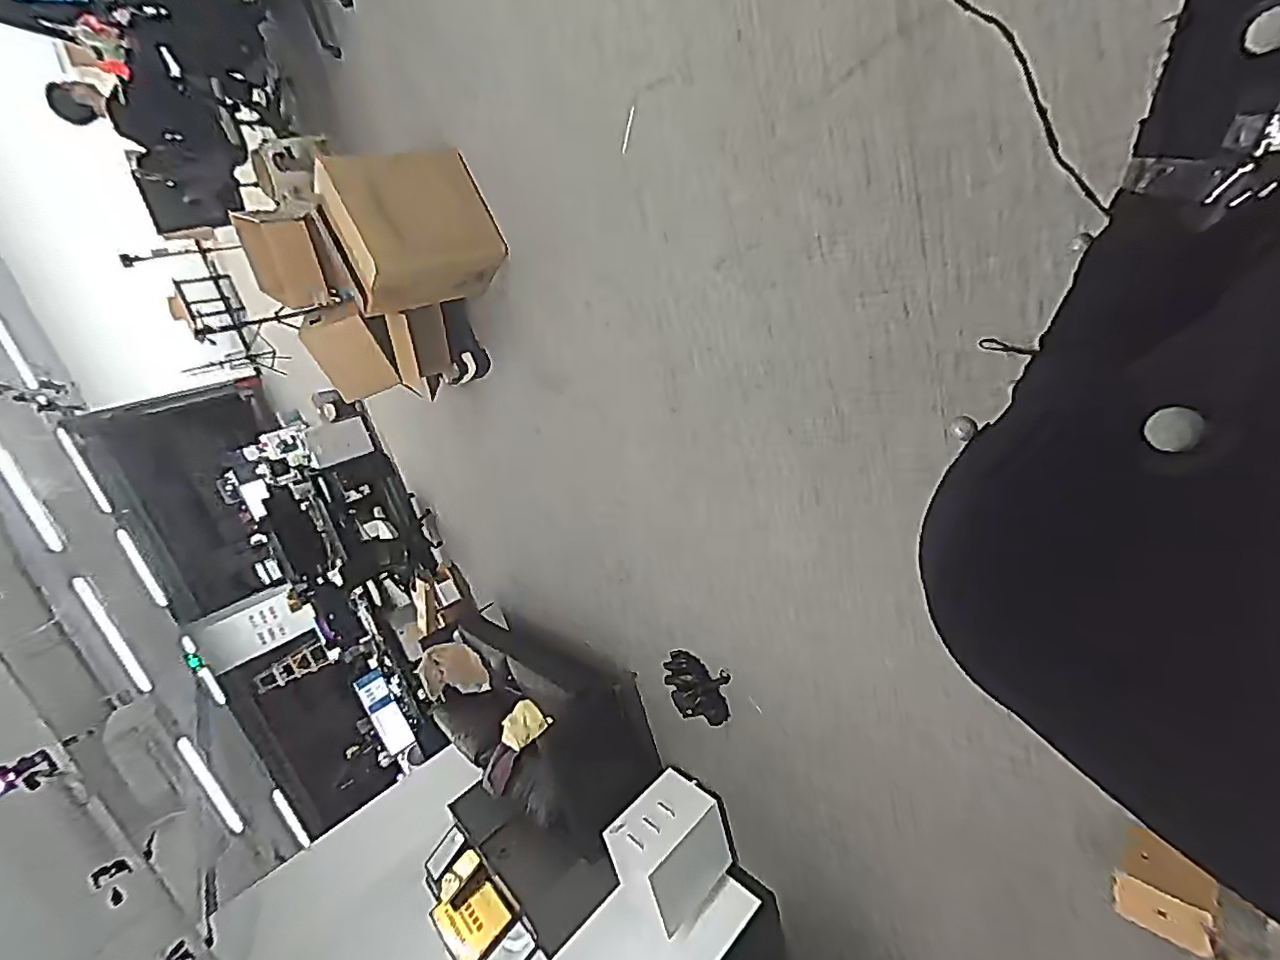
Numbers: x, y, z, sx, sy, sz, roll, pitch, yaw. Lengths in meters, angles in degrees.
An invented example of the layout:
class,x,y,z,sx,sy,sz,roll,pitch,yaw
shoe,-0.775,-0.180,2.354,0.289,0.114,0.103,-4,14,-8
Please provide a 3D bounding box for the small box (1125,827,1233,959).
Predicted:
class,x,y,z,sx,sy,sz,roll,pitch,yaw
small box,1.359,1.027,1.365,0.179,0.176,0.168,5,117,49
